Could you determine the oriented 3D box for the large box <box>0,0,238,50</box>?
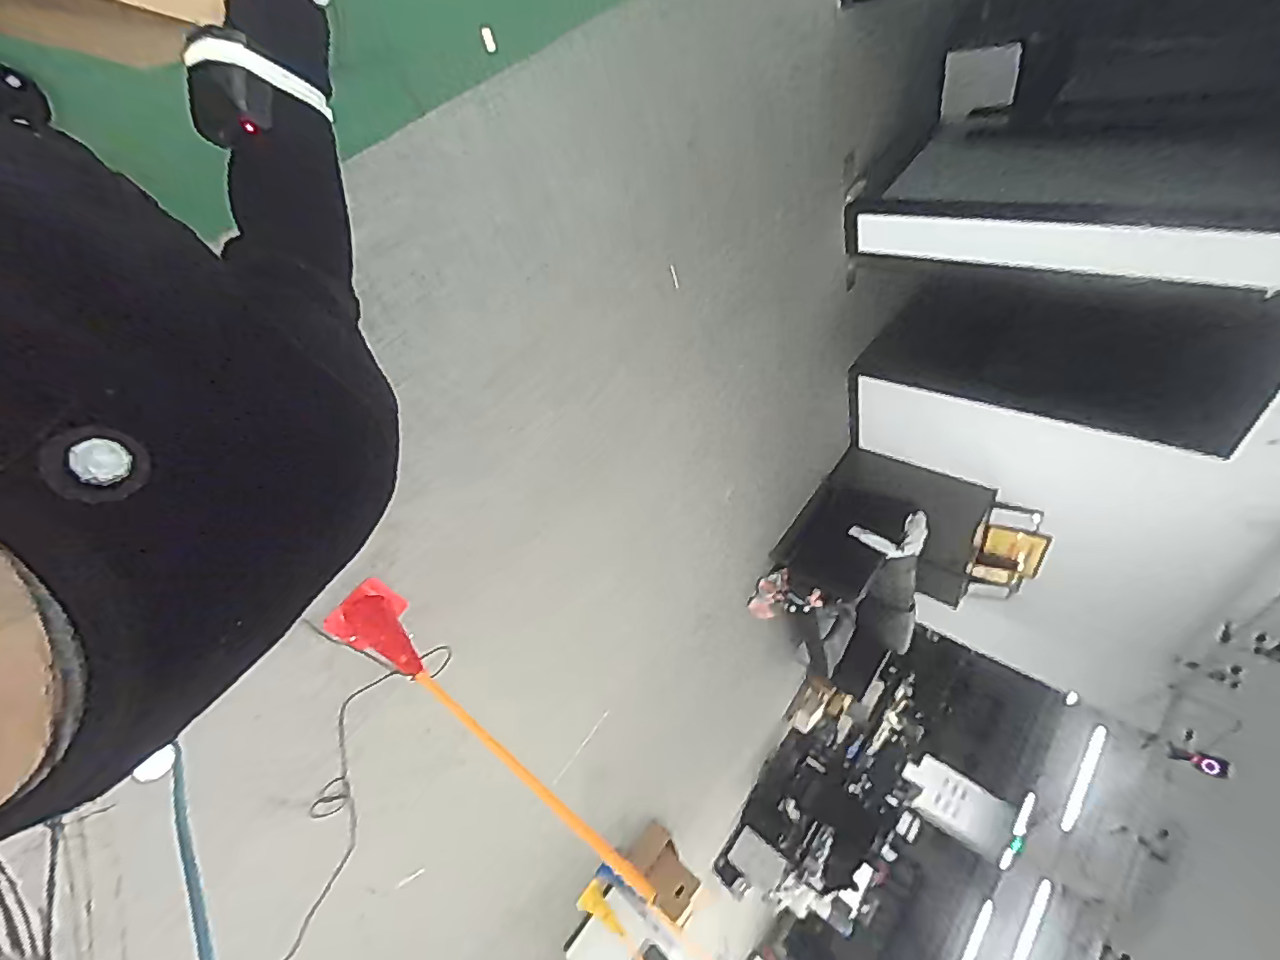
[{"bbox_3d":[-0.540,-0.503,0.312,0.408,0.320,0.320,-19,126,-47],"label":"large box"}]
